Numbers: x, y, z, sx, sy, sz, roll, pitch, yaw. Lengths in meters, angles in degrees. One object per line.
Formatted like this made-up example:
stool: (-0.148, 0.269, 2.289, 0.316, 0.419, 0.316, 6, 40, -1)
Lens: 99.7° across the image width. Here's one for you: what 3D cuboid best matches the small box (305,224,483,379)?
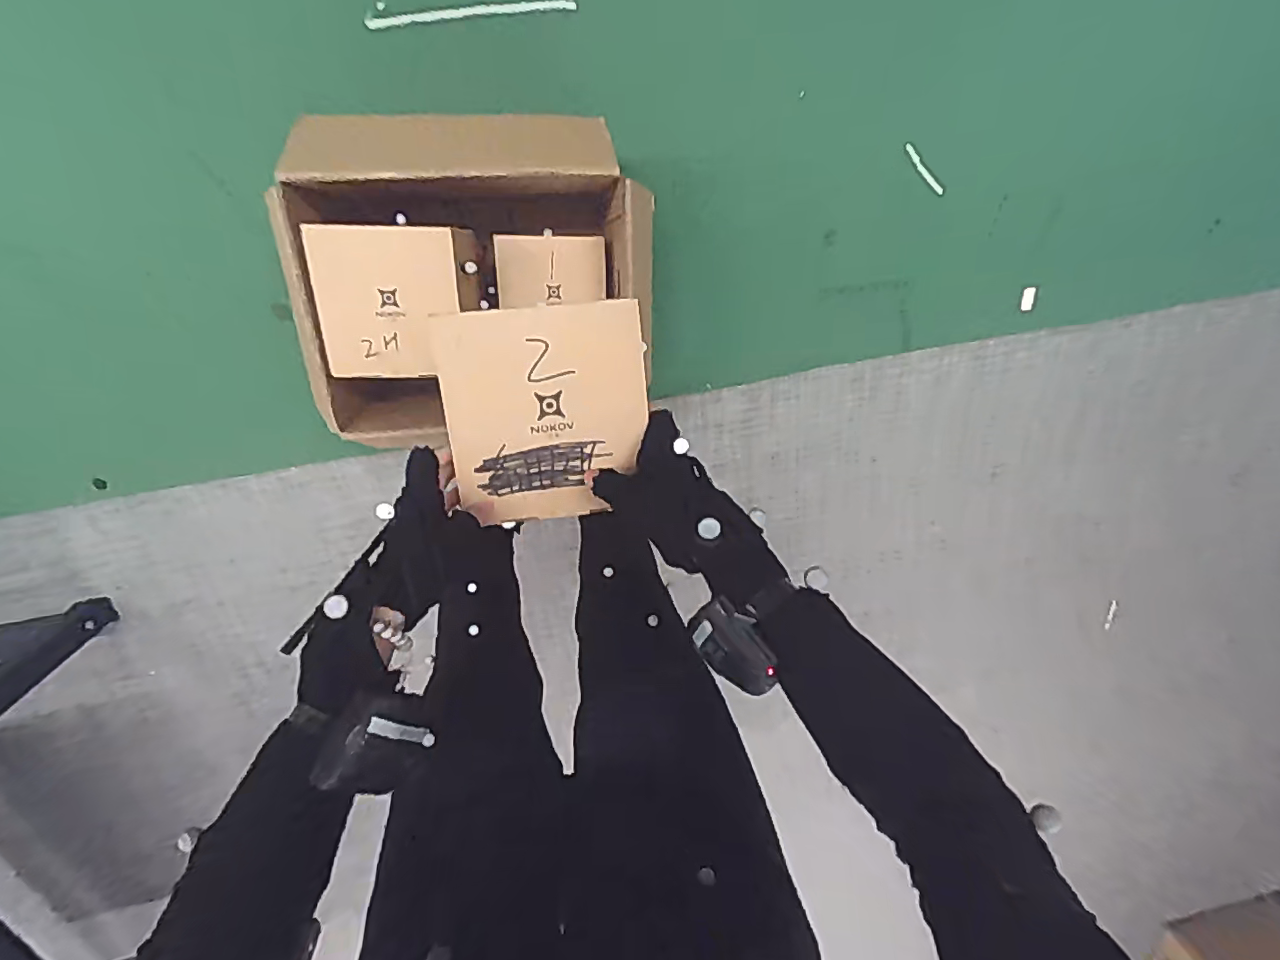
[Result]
small box: (-0.308, -0.236, 0.717, 0.168, 0.176, 0.179, -1, 113, -7)
